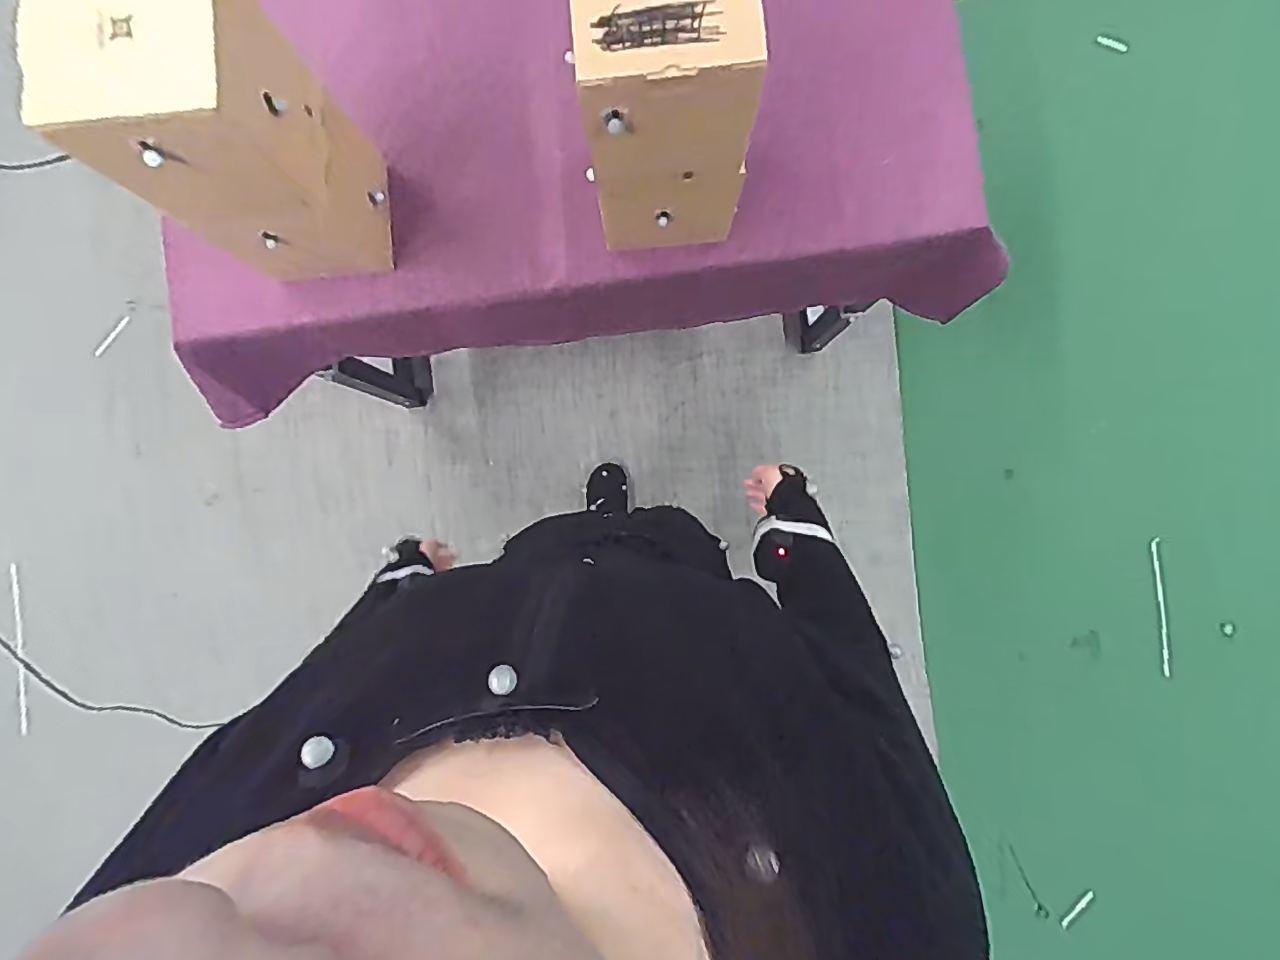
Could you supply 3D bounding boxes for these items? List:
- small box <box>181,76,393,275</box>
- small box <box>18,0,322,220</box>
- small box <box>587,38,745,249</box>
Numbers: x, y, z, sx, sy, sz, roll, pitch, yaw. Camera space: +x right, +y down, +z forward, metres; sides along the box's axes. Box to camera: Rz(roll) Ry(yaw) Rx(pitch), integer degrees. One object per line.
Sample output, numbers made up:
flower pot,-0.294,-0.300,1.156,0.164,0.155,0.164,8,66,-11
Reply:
small box,-0.453,-0.384,0.712,0.179,0.176,0.168,-4,89,1
small box,-0.451,-0.389,0.549,0.179,0.176,0.168,-5,88,2
small box,0.031,-0.423,0.706,0.179,0.176,0.168,-5,88,2
